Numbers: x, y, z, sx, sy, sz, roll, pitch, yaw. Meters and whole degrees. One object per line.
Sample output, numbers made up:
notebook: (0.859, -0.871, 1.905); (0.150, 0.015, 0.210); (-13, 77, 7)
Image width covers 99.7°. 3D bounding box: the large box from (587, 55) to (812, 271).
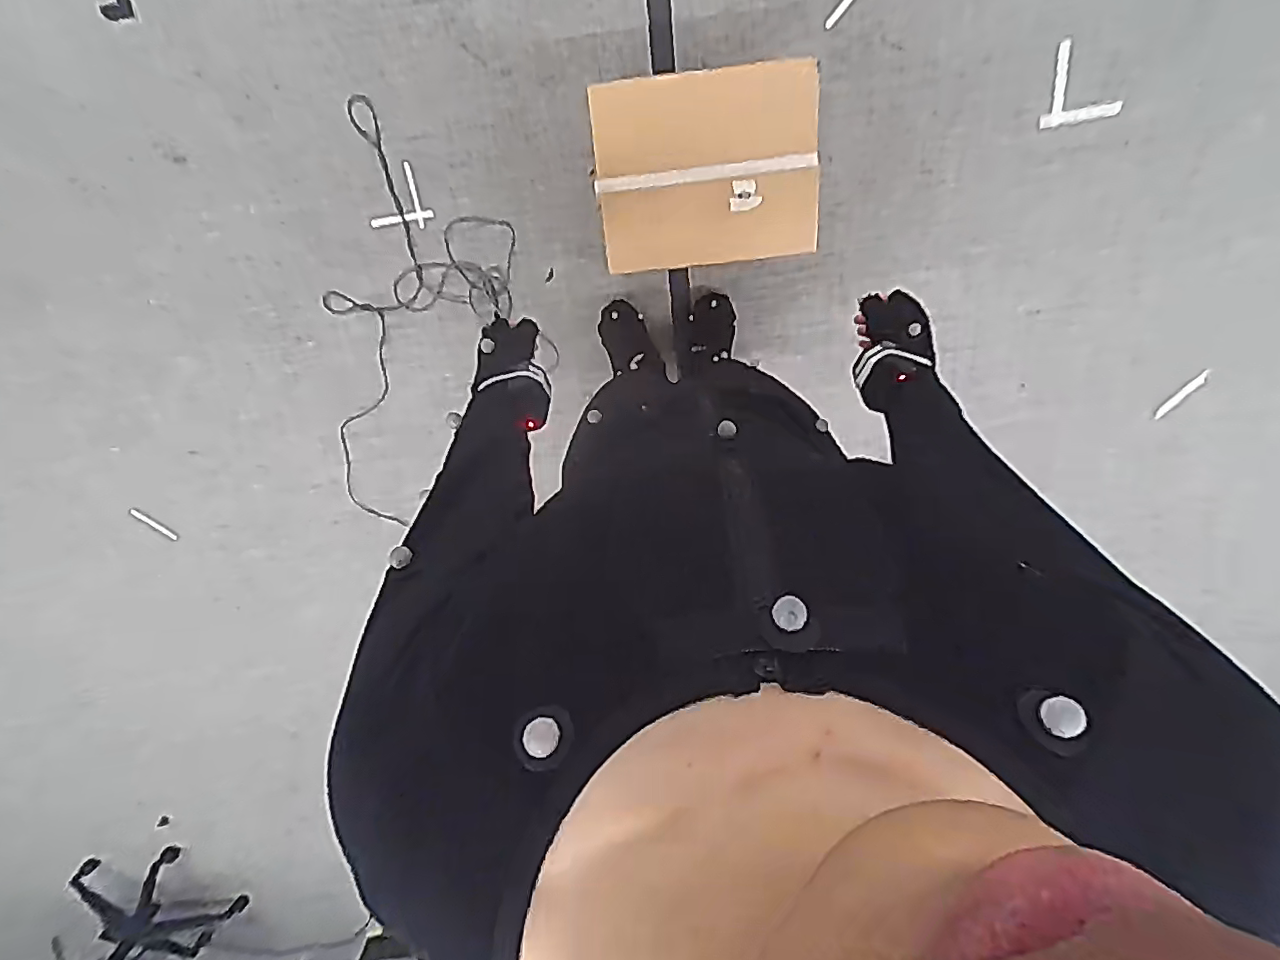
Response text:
large box: (0.117, -0.630, 1.139); (0.408, 0.320, 0.320); (-6, 113, 2)
